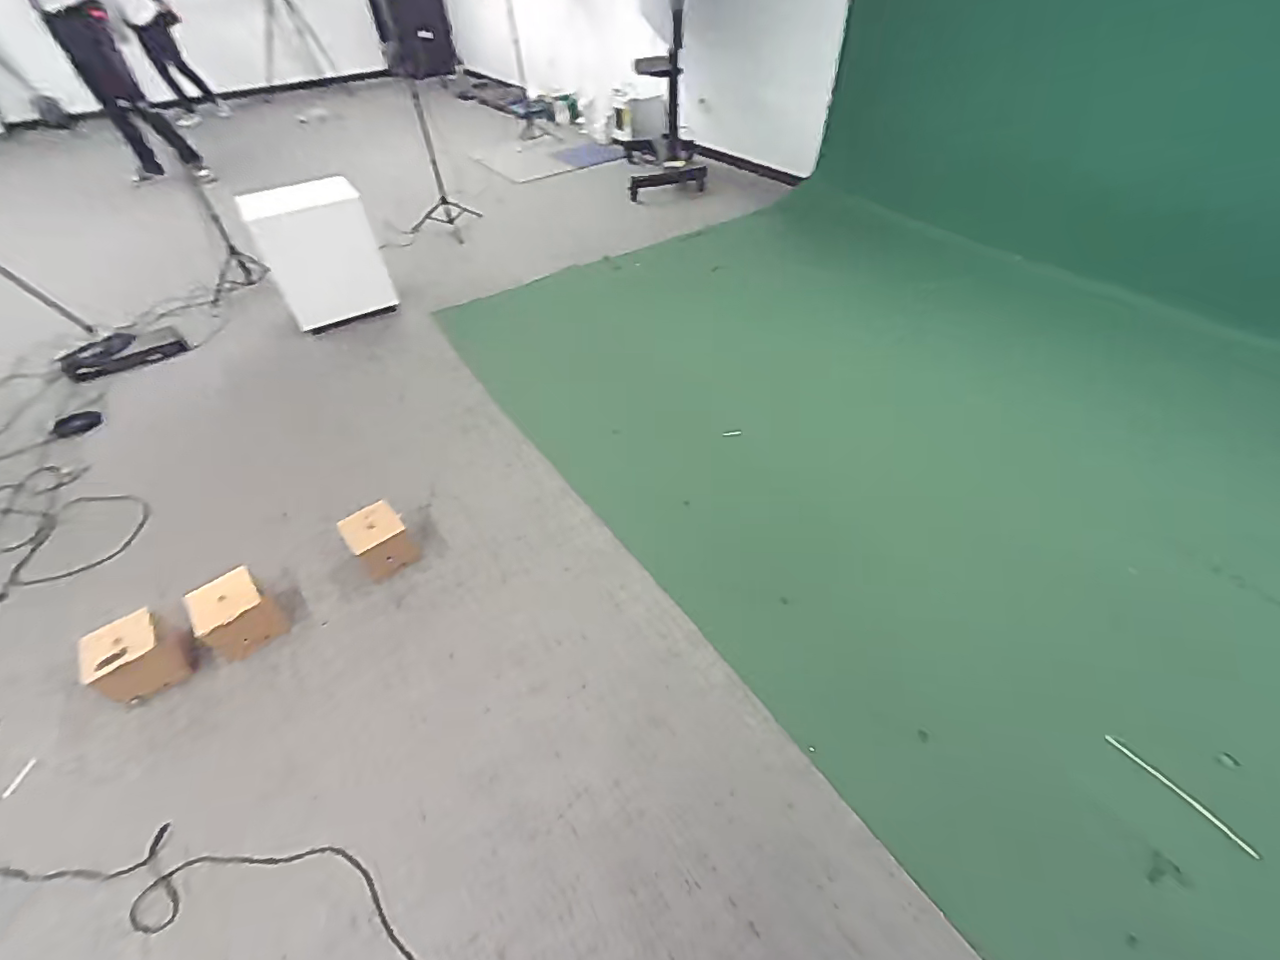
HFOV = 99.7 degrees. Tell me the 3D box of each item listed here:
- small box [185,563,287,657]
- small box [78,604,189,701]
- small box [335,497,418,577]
[{"bbox_3d":[-1.199,0.391,1.610,0.168,0.176,0.179,-34,55,-26],"label":"small box"},{"bbox_3d":[-1.415,0.492,1.519,0.168,0.176,0.179,-31,52,-25],"label":"small box"},{"bbox_3d":[-0.862,0.196,1.784,0.168,0.176,0.179,-32,54,-27],"label":"small box"}]
